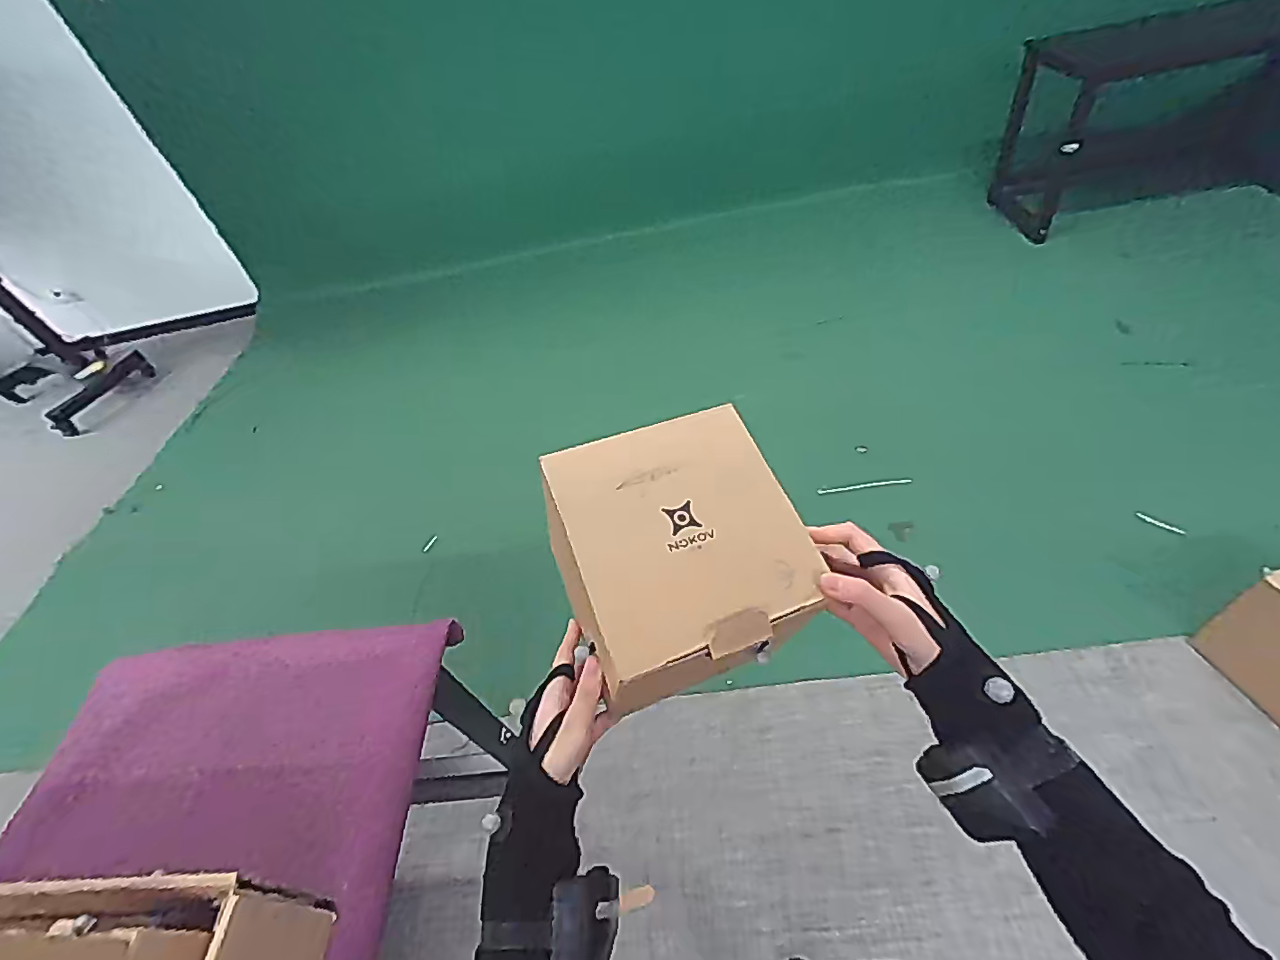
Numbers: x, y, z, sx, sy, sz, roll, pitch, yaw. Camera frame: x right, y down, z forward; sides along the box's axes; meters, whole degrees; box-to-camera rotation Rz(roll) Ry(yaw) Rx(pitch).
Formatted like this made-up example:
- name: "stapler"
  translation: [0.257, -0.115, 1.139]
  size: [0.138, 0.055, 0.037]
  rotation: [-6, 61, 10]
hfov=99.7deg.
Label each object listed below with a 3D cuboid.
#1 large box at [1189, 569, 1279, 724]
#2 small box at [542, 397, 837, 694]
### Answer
- name: "large box"
  translation: [1.557, 0.393, 1.140]
  size: [0.320, 0.320, 0.408]
  rotation: [-18, 44, -4]
- name: "small box"
  translation: [0.025, 0.064, 0.454]
  size: [0.168, 0.176, 0.179]
  rotation: [-16, 62, -15]
